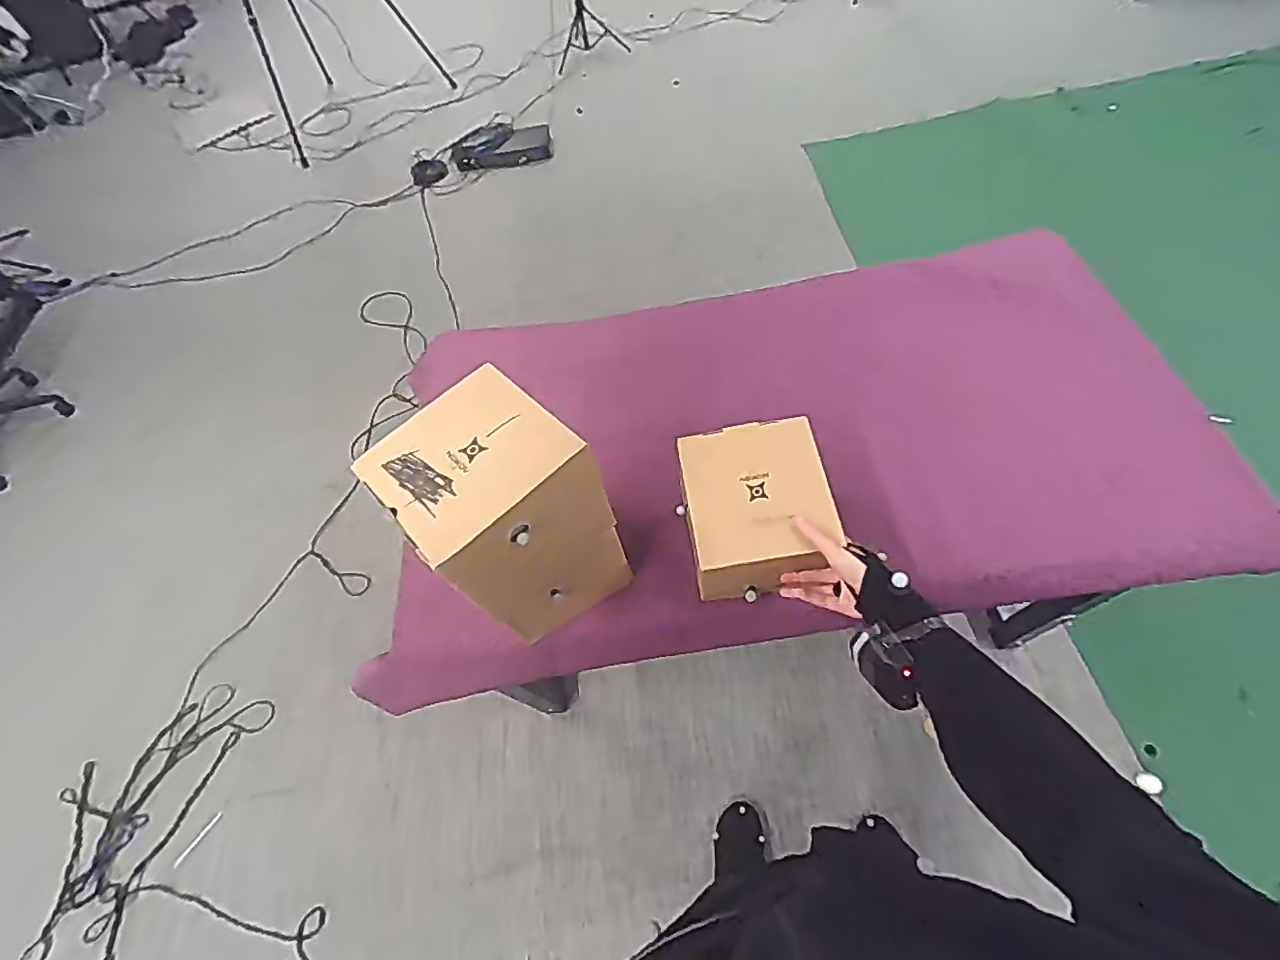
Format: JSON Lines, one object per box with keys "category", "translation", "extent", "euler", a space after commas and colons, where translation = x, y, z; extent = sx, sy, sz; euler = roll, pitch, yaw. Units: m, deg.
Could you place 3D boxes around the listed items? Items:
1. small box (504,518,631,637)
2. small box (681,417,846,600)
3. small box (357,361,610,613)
{"category": "small box", "translation": [-0.131, 0.085, 0.733], "extent": [0.179, 0.176, 0.168], "euler": [-31, 60, -10]}
{"category": "small box", "translation": [0.146, 0.044, 0.706], "extent": [0.168, 0.176, 0.179], "euler": [-9, 65, 3]}
{"category": "small box", "translation": [-0.154, 0.014, 0.585], "extent": [0.179, 0.176, 0.168], "euler": [-41, 62, -17]}
